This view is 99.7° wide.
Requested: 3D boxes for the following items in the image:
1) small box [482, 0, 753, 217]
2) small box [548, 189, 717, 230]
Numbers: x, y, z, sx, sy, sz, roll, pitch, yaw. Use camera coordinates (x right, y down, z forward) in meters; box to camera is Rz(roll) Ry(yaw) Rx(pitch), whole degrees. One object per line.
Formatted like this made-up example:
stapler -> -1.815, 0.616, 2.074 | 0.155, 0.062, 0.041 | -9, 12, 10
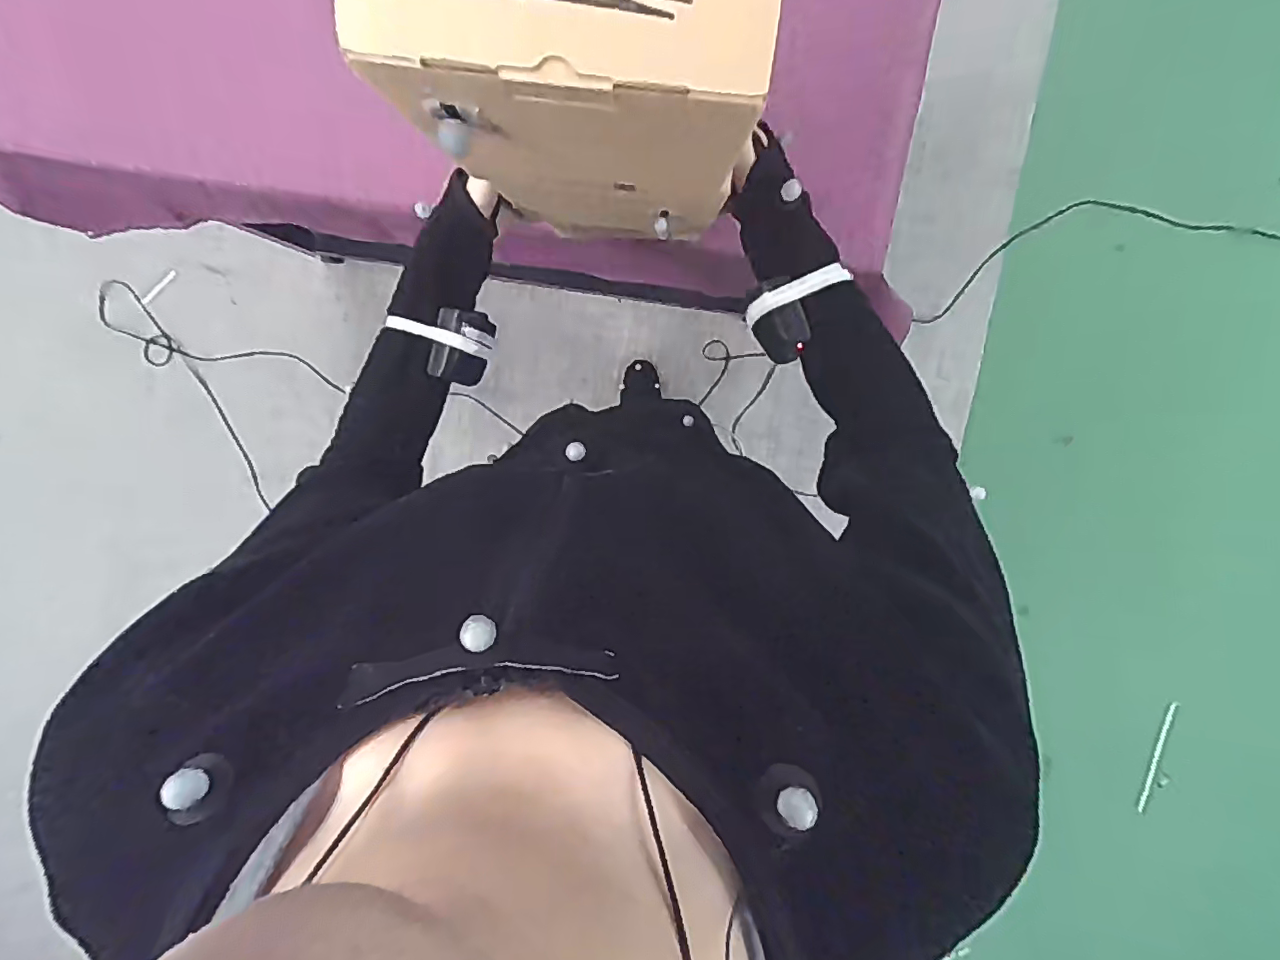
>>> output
small box -> -0.015, -0.318, 0.429 | 0.179, 0.176, 0.168 | 5, 105, 0
small box -> -0.010, -0.374, 0.582 | 0.179, 0.176, 0.168 | 2, 105, 0
